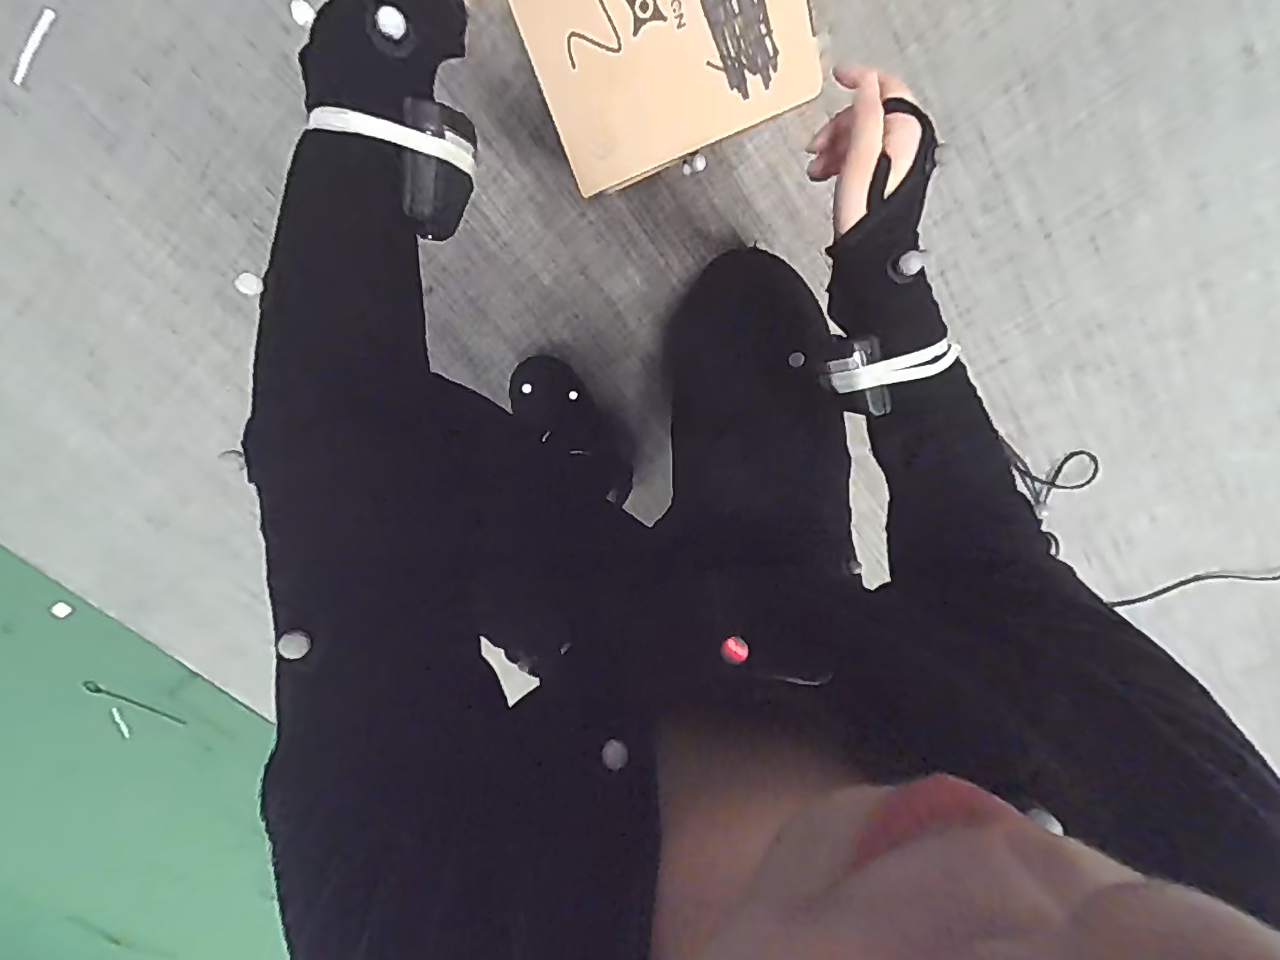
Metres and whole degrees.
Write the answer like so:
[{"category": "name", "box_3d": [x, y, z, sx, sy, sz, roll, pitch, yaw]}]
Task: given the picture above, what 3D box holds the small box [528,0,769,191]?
[{"category": "small box", "box_3d": [0.016, -0.411, 0.547, 0.179, 0.176, 0.168, -18, 117, 13]}]
